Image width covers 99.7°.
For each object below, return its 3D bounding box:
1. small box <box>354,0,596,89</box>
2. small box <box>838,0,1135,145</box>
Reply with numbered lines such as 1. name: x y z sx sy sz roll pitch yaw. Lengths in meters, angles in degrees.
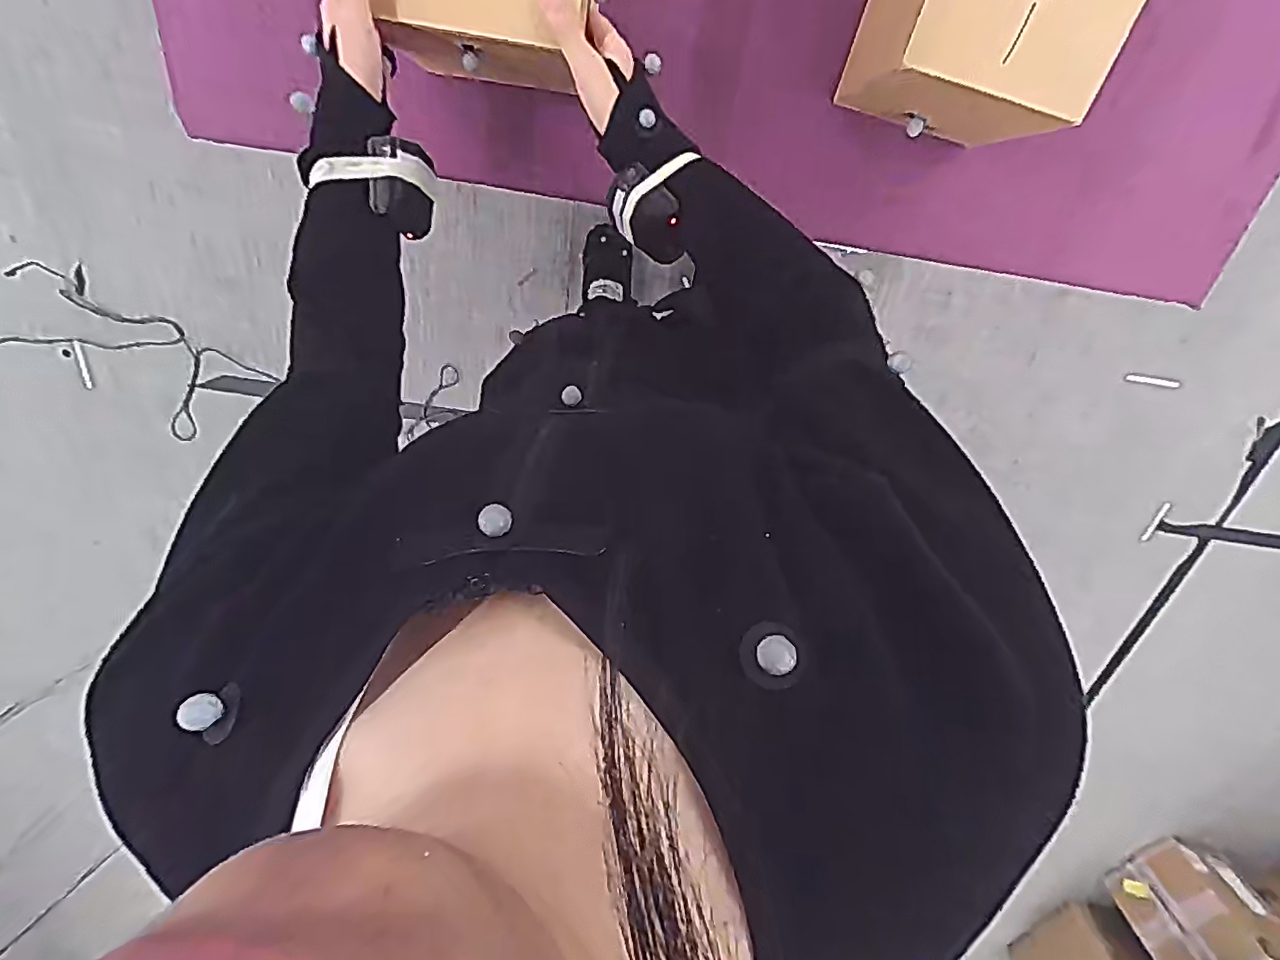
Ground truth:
1. small box: -0.126 -0.456 0.462 0.179 0.176 0.168 7 116 -3
2. small box: 0.302 -0.425 0.480 0.168 0.176 0.179 13 116 -7
